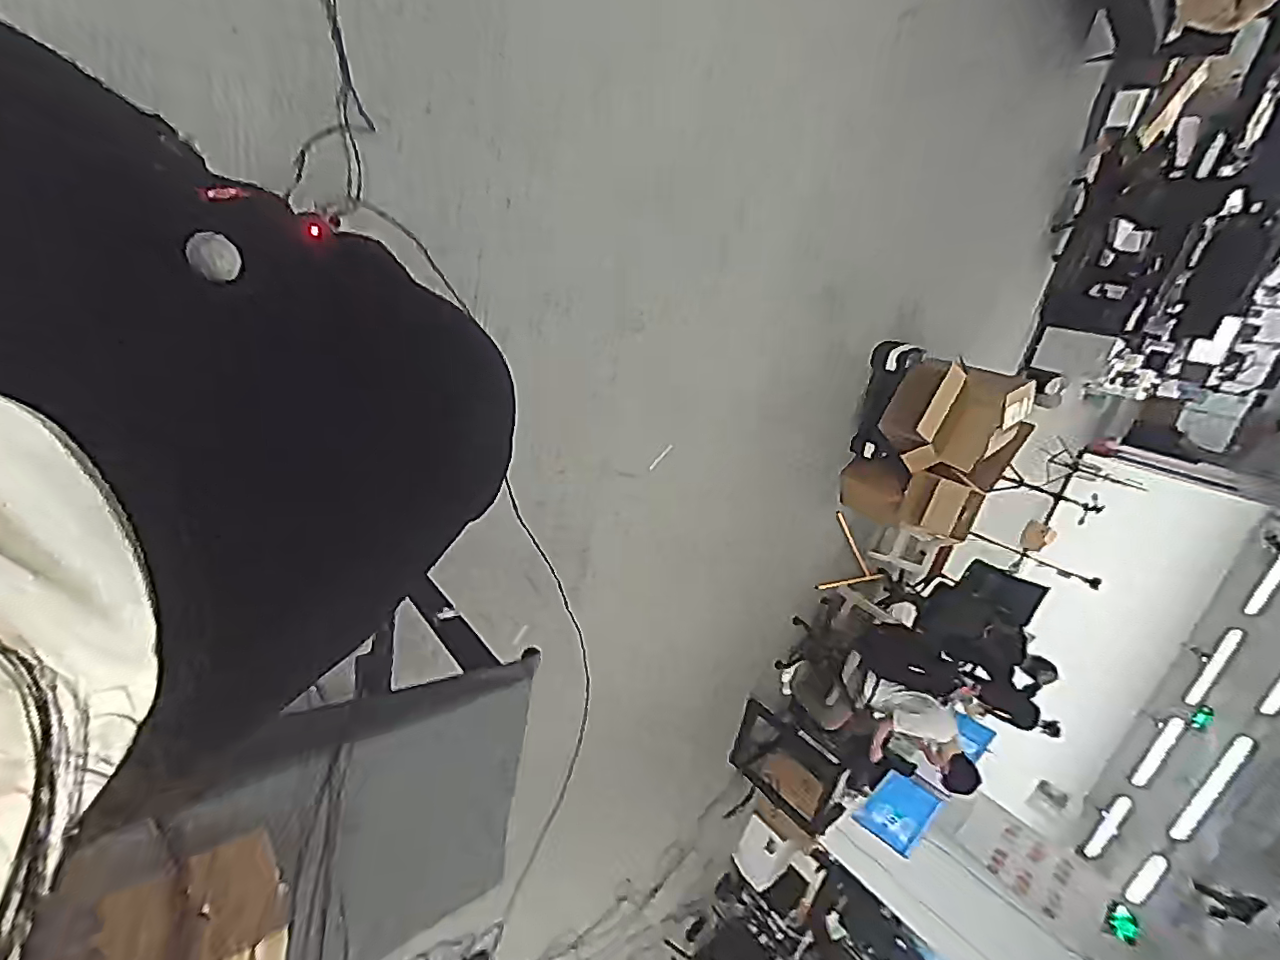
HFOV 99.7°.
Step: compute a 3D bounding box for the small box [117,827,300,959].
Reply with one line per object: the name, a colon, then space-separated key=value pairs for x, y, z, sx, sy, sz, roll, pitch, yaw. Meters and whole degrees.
small box: x=-0.578 y=0.627 z=0.728 sx=0.179 sy=0.176 sz=0.168 roll=-8 pitch=118 yaw=-44
